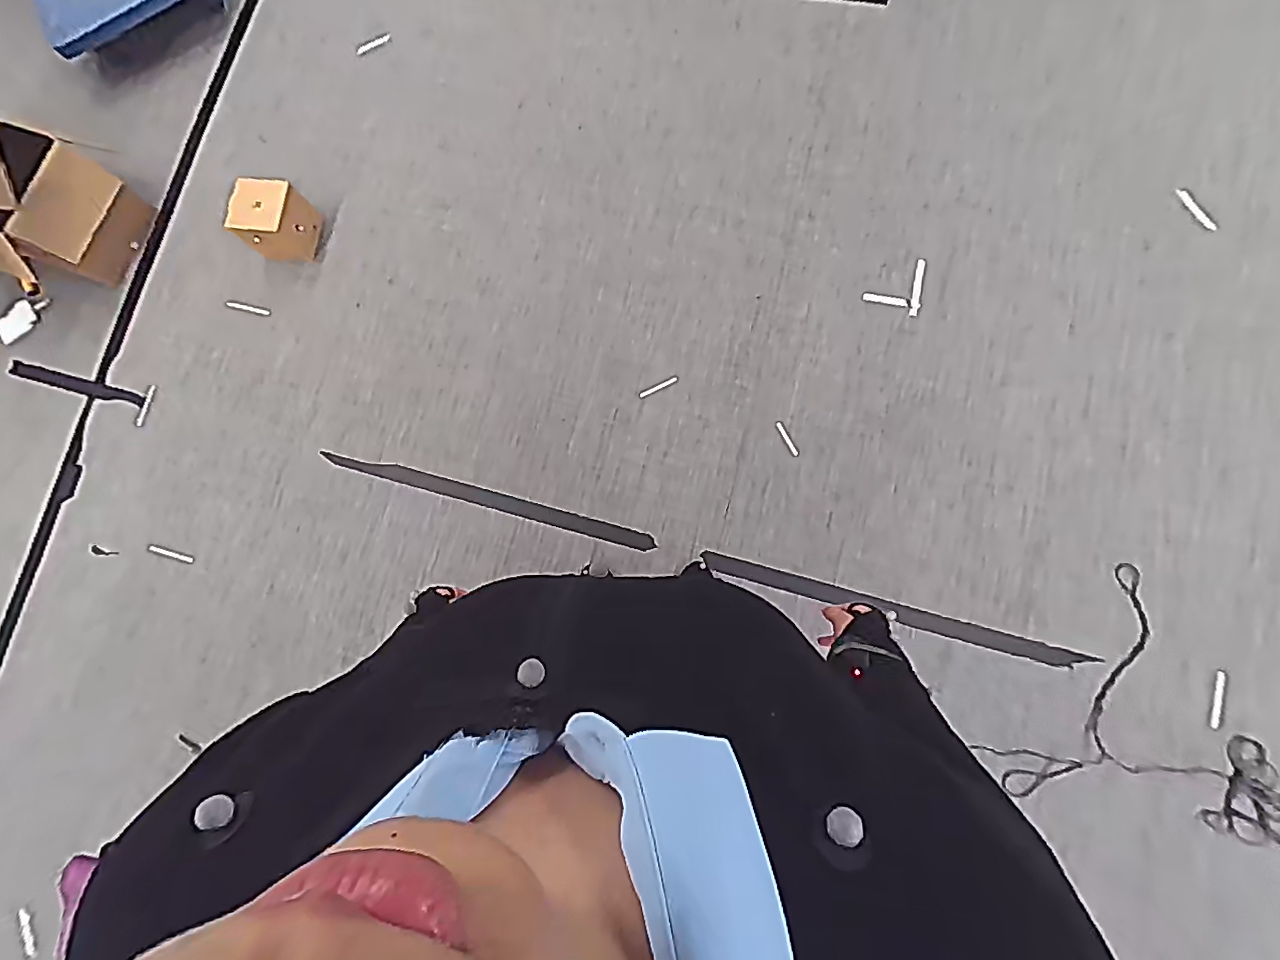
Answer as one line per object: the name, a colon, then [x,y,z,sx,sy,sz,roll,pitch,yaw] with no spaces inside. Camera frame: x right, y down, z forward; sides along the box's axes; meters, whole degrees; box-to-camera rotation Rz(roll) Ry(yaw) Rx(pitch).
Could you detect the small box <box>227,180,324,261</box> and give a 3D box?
small box: [-1.130,-0.805,1.691,0.179,0.176,0.168,7,82,7]
